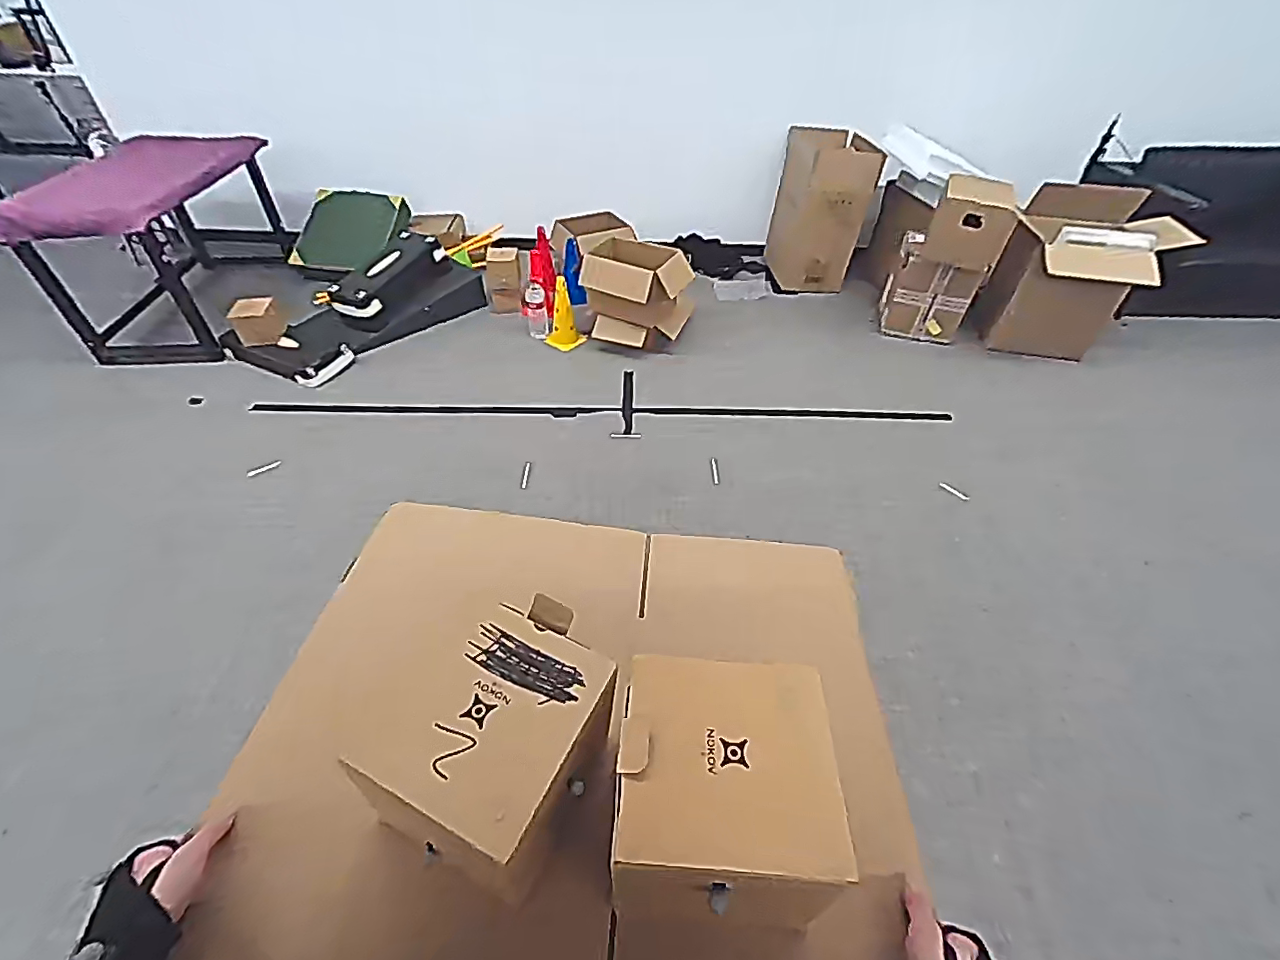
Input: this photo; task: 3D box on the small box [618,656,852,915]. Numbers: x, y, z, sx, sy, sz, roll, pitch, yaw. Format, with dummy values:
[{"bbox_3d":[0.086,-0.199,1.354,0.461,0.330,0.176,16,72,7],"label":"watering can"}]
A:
[{"bbox_3d":[0.074,0.288,0.509,0.179,0.176,0.168,2,42,2],"label":"small box"}]
